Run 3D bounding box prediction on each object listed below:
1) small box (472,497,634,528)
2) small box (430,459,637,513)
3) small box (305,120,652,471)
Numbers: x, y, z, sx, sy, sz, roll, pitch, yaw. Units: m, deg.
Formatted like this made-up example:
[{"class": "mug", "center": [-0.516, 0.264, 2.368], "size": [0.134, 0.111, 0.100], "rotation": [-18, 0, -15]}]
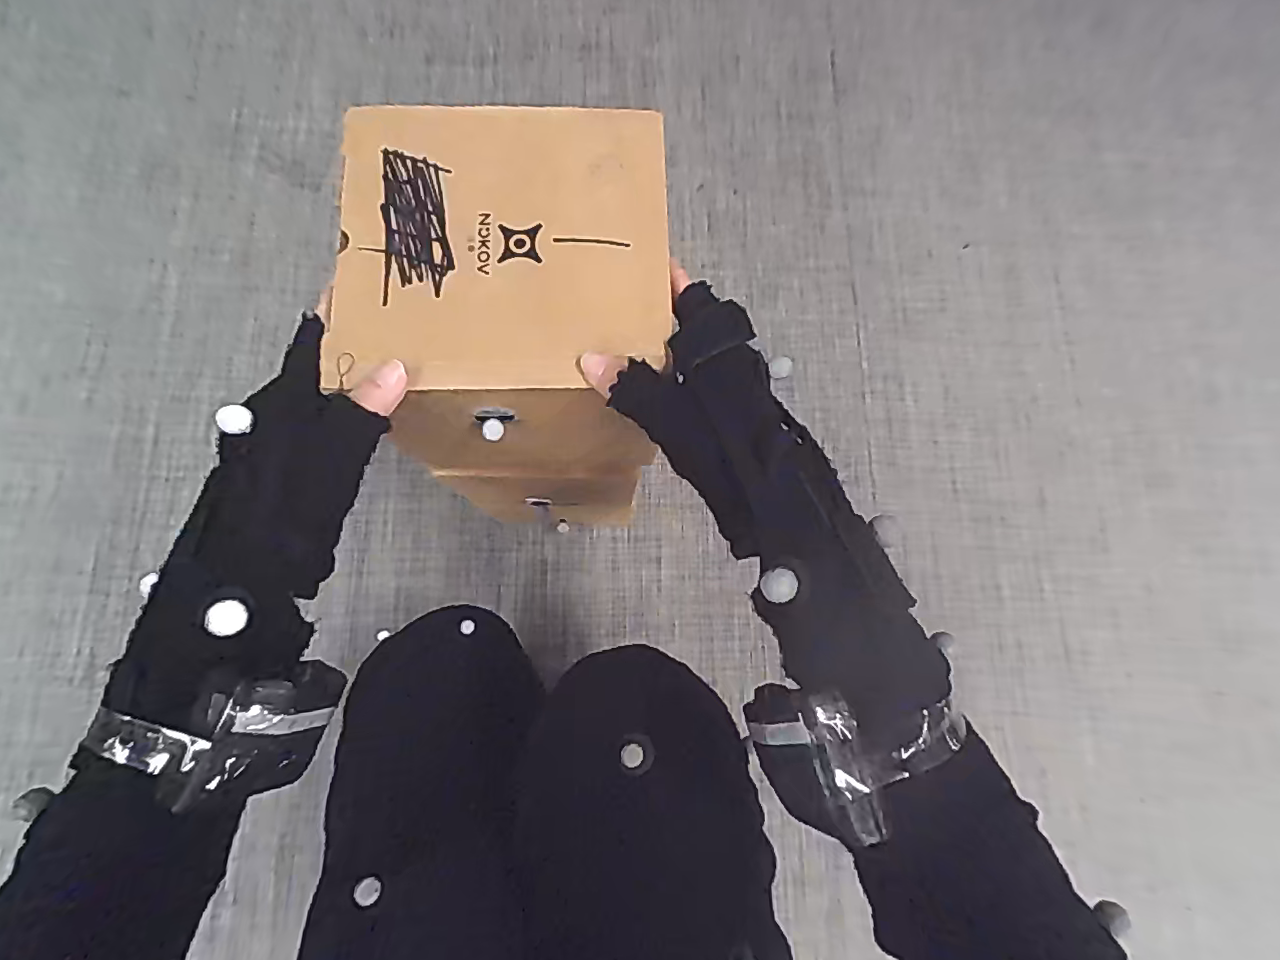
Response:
[{"class": "small box", "center": [-0.097, -0.032, 0.681], "size": [0.179, 0.176, 0.168], "rotation": [2, 78, -3]}, {"class": "small box", "center": [-0.086, -0.067, 0.522], "size": [0.168, 0.176, 0.179], "rotation": [0, 79, -1]}, {"class": "small box", "center": [-0.082, -0.102, 0.362], "size": [0.179, 0.176, 0.168], "rotation": [-1, 79, -2]}]
